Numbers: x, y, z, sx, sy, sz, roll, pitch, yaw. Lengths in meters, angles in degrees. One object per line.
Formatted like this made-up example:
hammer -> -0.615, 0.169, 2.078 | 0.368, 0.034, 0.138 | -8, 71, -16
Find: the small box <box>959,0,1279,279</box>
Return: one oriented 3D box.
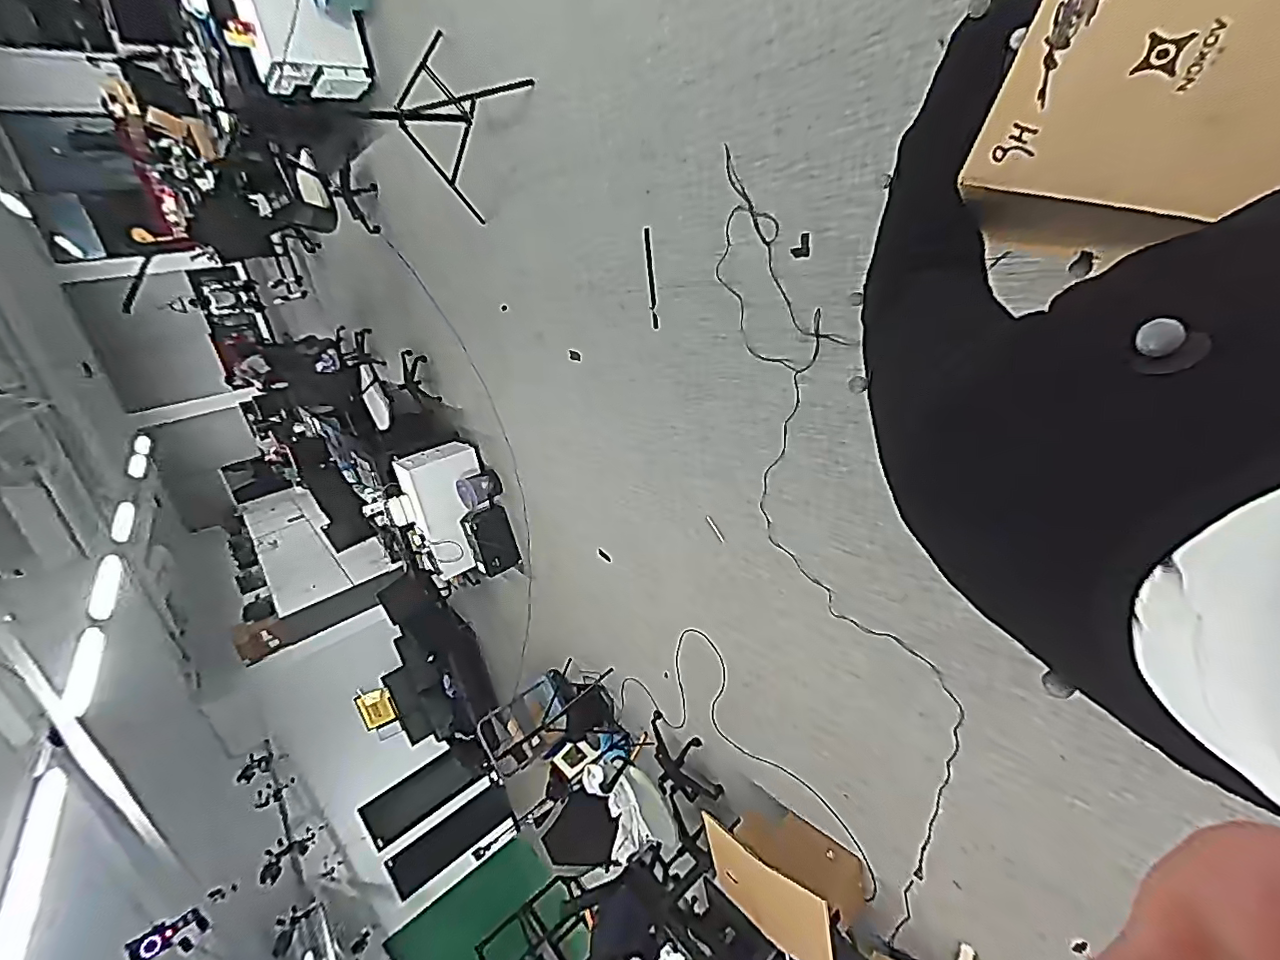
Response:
small box -> 0.367, -0.256, 0.385 | 0.179, 0.176, 0.168 | 31, 112, 31
